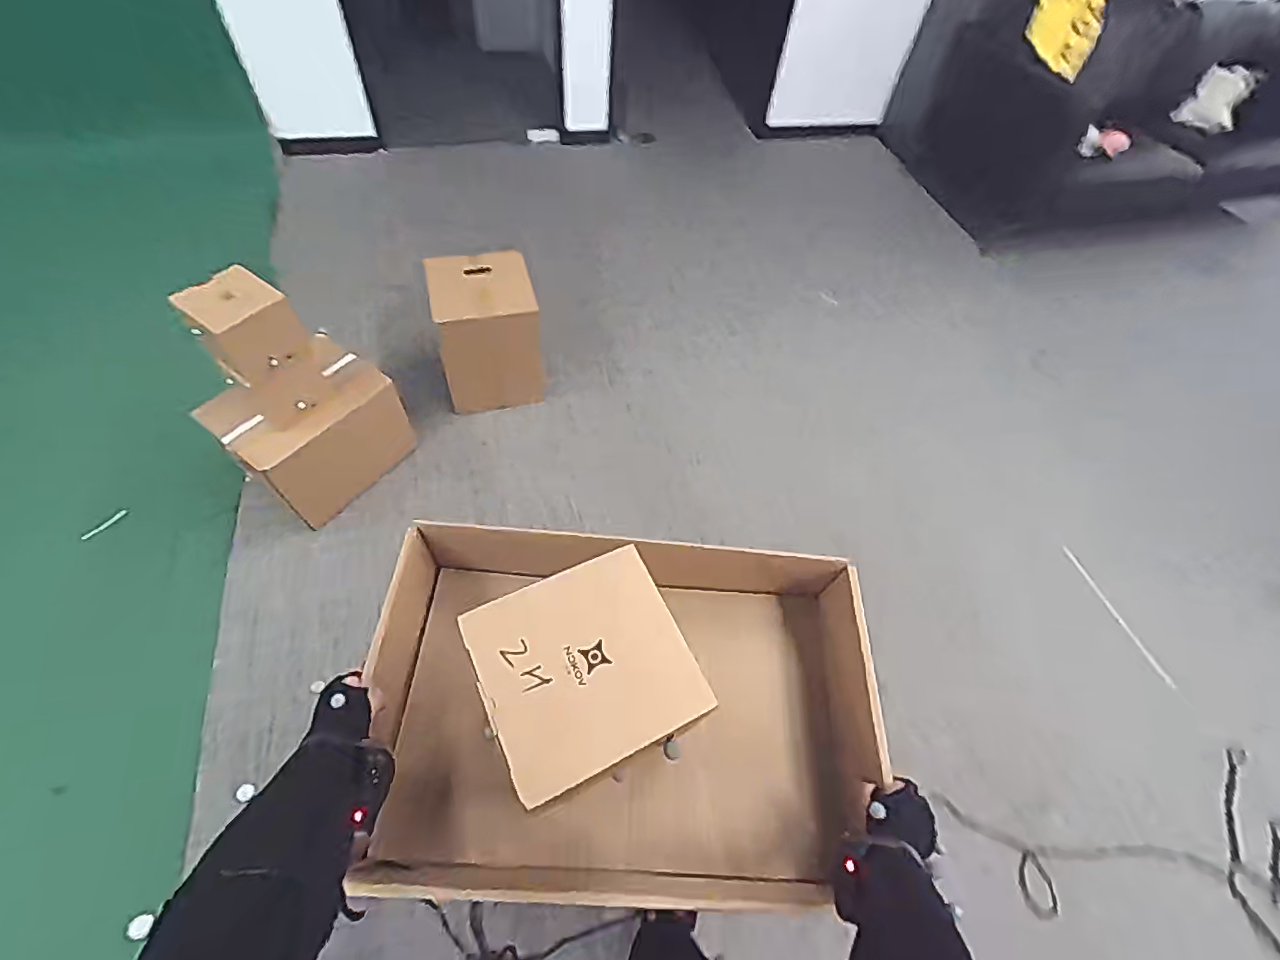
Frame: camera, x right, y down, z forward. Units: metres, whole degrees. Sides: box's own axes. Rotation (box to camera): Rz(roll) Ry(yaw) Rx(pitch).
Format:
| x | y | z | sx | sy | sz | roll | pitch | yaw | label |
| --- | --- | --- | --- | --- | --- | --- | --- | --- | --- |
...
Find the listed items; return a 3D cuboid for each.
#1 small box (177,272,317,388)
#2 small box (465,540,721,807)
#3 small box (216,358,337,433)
| x | y | z | sx | sy | sz | roll | pitch | yaw | label |
| --- | --- | --- | --- | --- | --- | --- | --- | --- | --- |
| -0.908 | -0.346 | 1.266 | 0.179 | 0.176 | 0.168 | 33 | 59 | 16 | small box |
| -0.052 | 0.190 | 0.527 | 0.179 | 0.176 | 0.168 | -20 | 61 | -19 | small box |
| -0.930 | -0.254 | 1.398 | 0.179 | 0.176 | 0.168 | 36 | 59 | 17 | small box |
